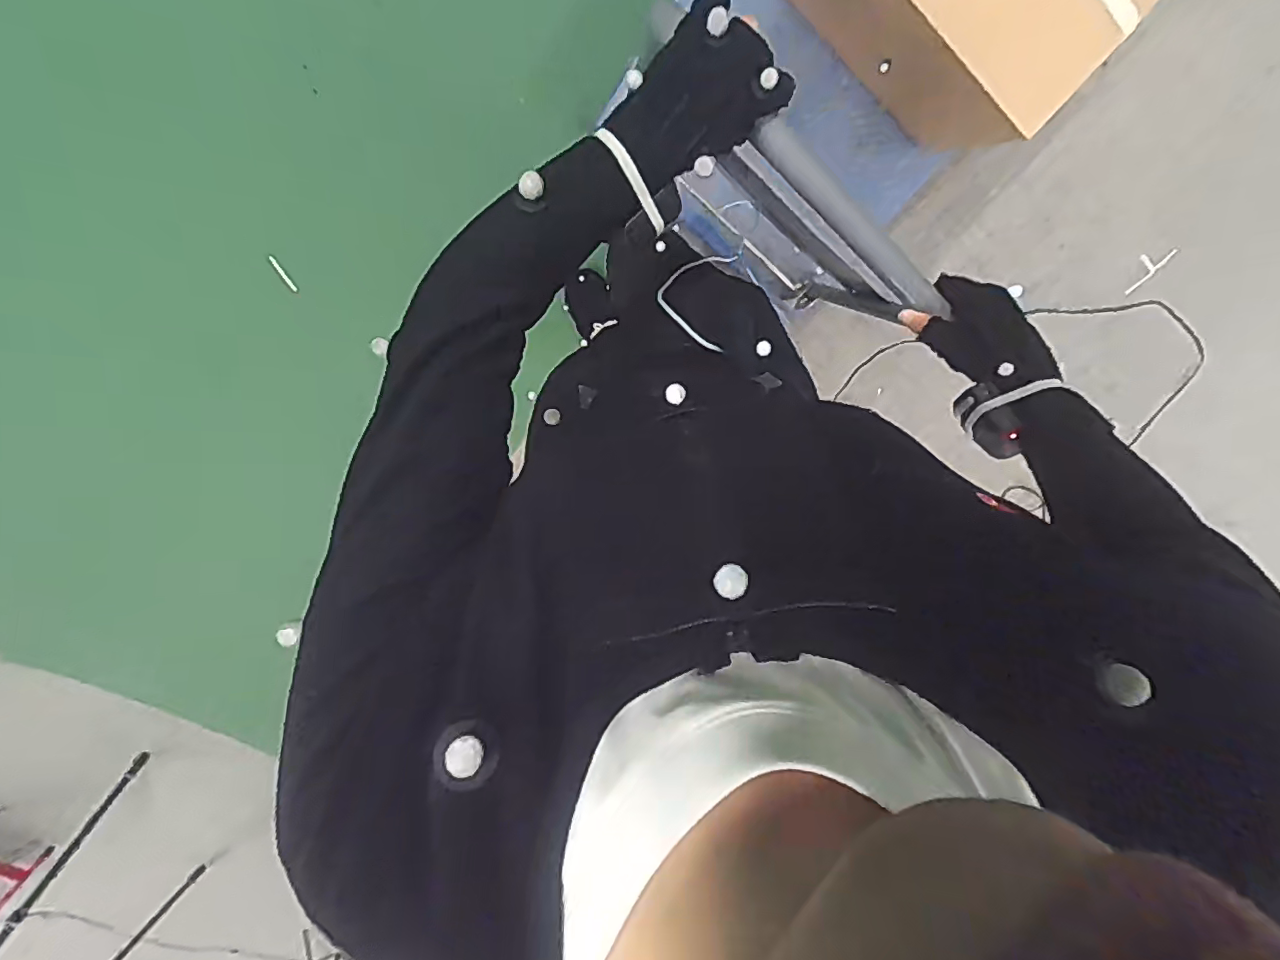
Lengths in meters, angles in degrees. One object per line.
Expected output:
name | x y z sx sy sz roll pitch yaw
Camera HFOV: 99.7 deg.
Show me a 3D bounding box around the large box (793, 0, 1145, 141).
large box | 0.492 -0.787 0.805 0.408 0.320 0.320 33 113 -17
